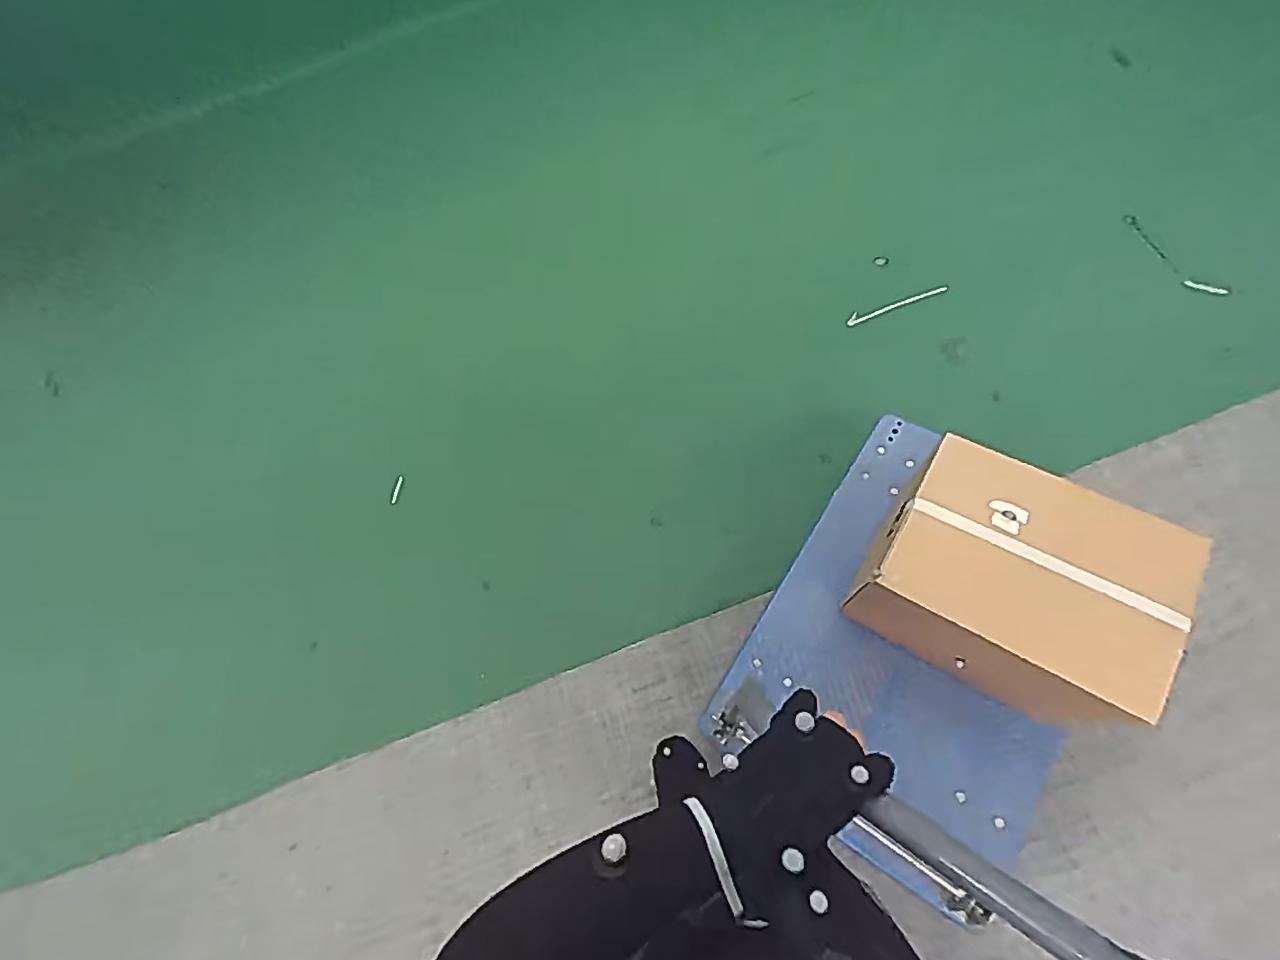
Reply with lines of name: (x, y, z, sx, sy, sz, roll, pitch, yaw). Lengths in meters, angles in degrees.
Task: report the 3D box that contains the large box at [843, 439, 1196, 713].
large box: (0.652, 0.186, 1.002, 0.408, 0.320, 0.320, 27, 73, 20)
